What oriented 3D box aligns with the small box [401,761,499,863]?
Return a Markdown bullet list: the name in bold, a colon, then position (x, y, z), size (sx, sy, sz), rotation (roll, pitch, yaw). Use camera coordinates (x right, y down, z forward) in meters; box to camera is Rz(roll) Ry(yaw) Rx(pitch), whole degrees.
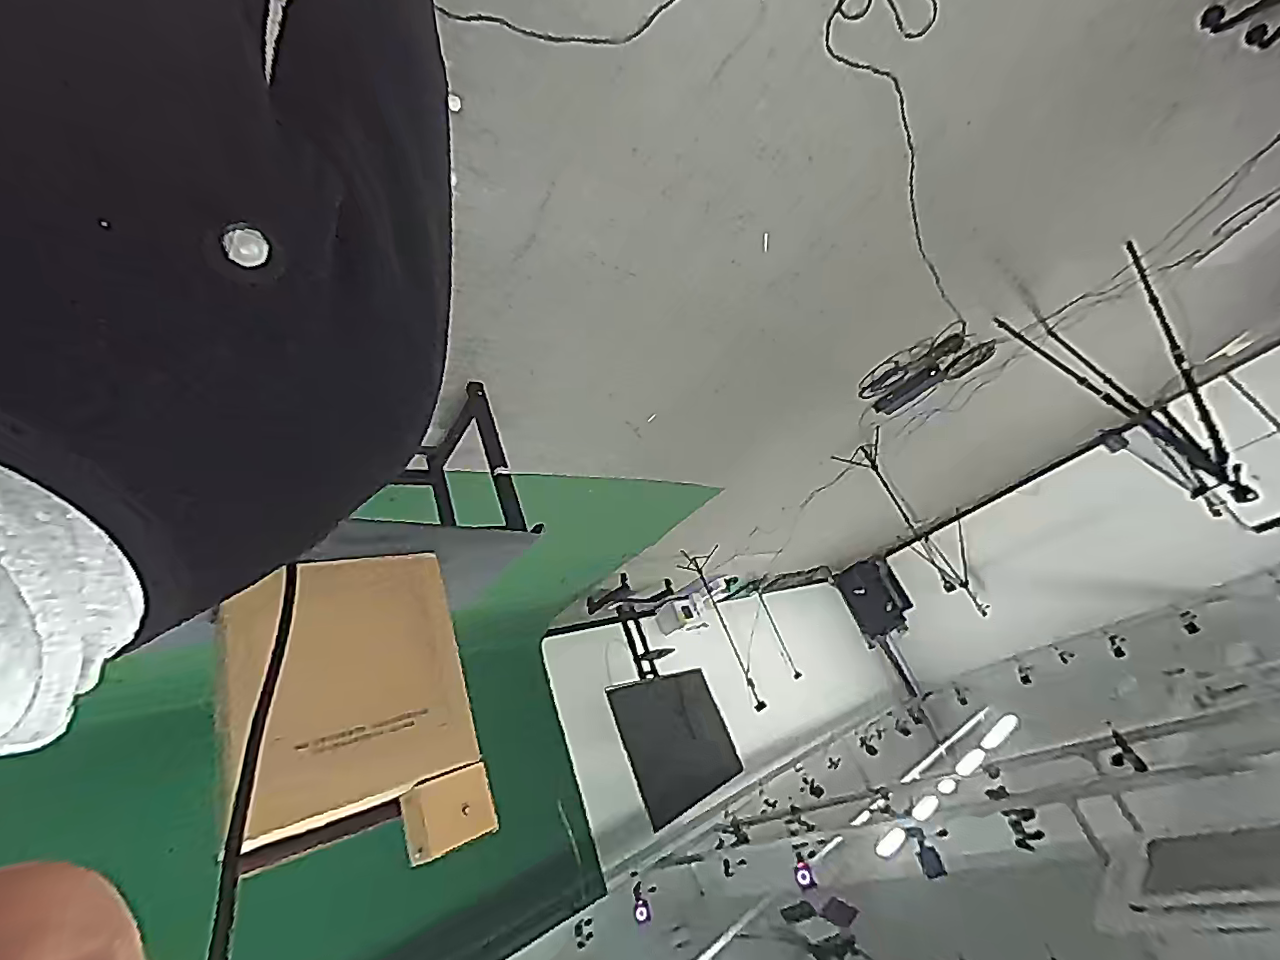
- **small box**: position (-0.505, 0.870, 1.428), size (0.179, 0.176, 0.168), rotation (-2, 148, -43)
